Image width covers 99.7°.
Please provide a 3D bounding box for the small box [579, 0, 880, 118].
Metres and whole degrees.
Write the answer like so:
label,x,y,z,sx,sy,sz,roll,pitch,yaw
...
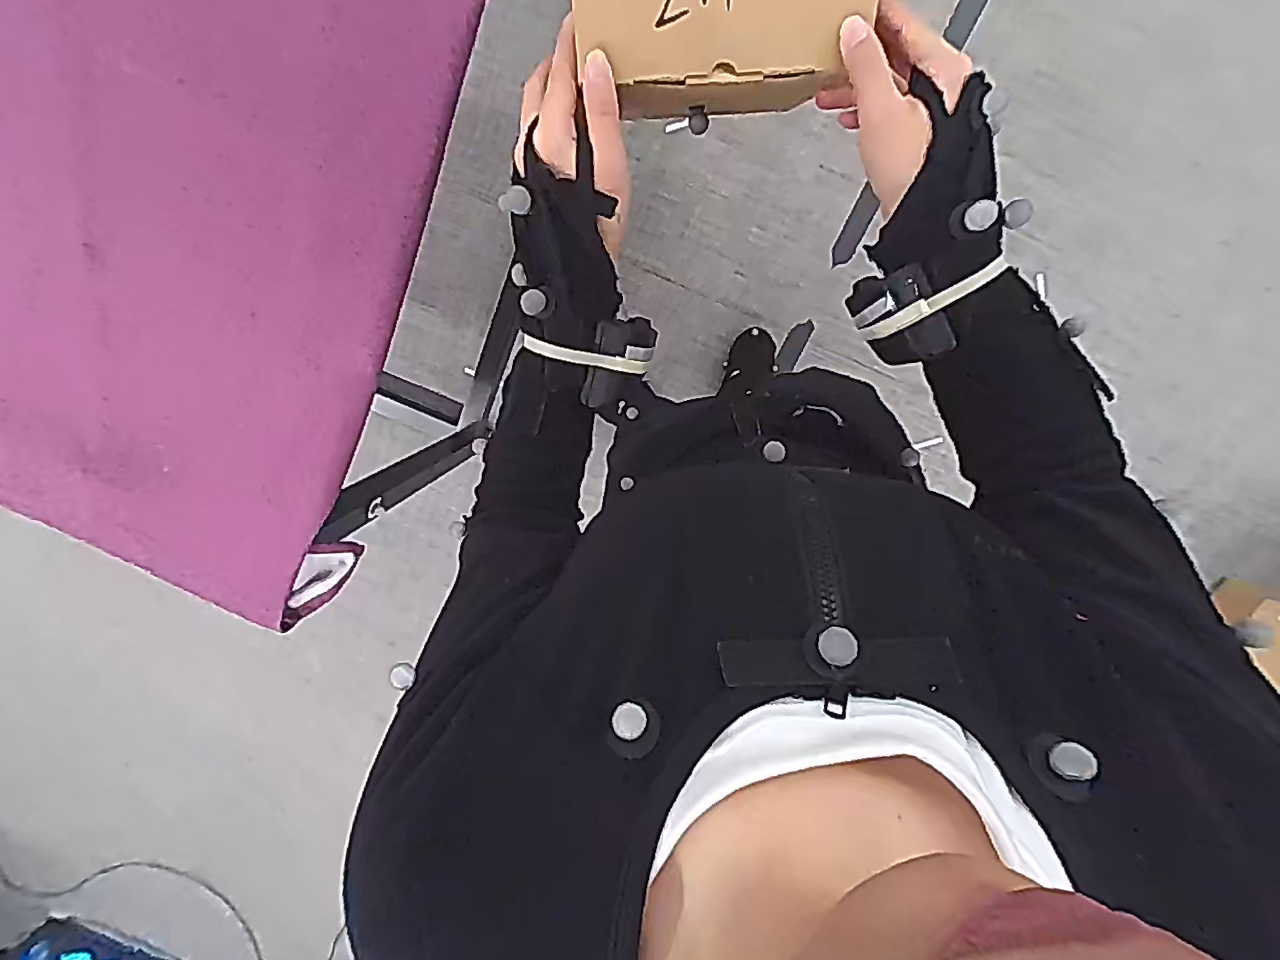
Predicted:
label,x,y,z,sx,sy,sz,roll,pitch,yaw
small box,0.043,-0.345,0.337,0.168,0.176,0.179,-3,117,0
